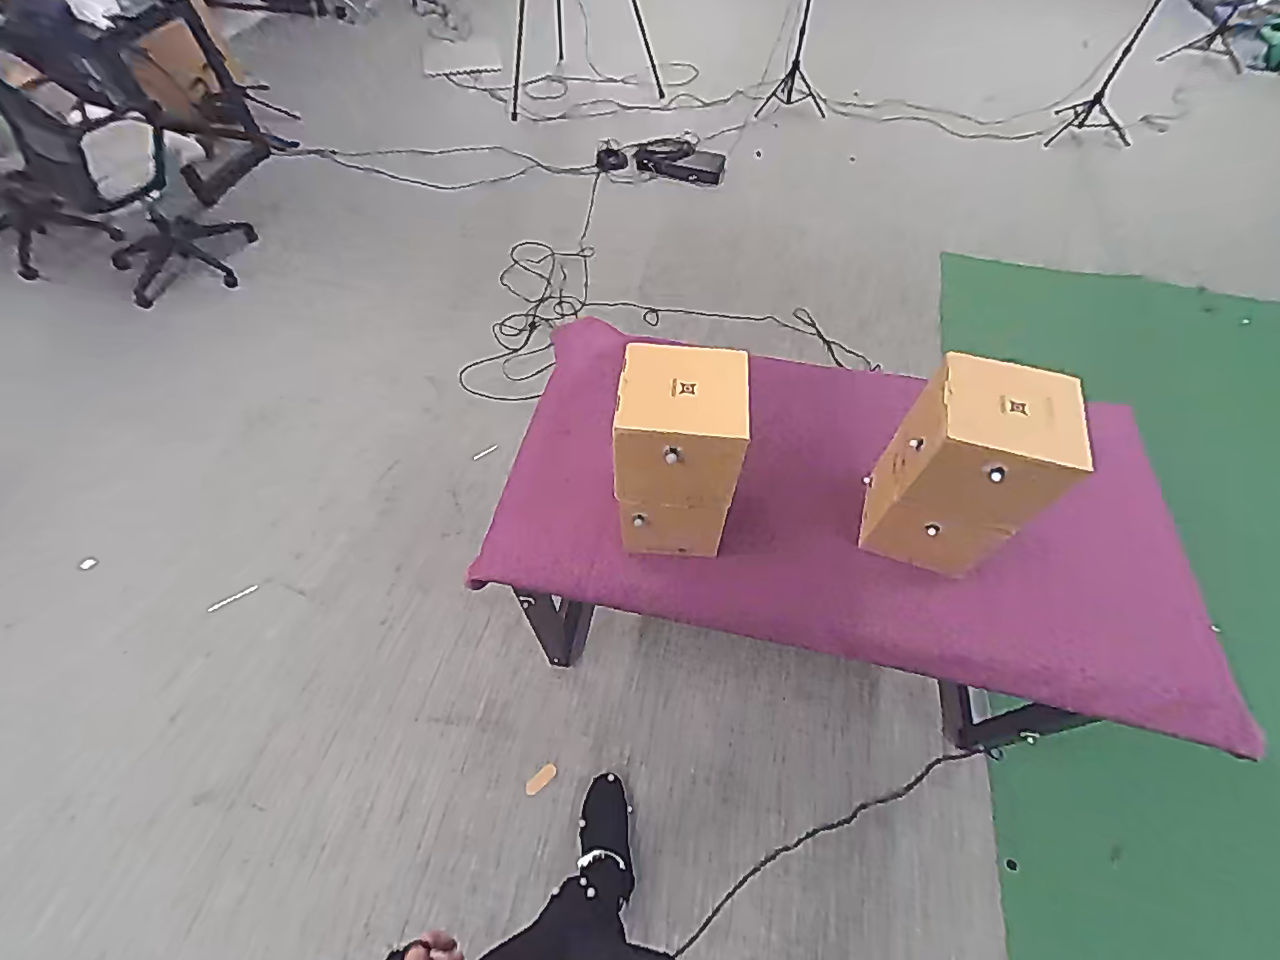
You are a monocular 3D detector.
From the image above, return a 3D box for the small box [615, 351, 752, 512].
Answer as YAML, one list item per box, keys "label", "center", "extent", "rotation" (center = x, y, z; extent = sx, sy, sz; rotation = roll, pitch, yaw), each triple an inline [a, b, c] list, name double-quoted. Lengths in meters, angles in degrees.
- label: "small box"
  center: [0.062, -0.066, 0.794]
  extent: [0.179, 0.176, 0.168]
  rotation: [5, 55, 3]

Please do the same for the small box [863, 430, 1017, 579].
- label: "small box"
  center: [0.497, 0.047, 0.915]
  extent: [0.179, 0.176, 0.168]
  rotation: [17, 58, 10]

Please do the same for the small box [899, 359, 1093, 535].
- label: "small box"
  center: [0.494, -0.042, 0.779]
  extent: [0.179, 0.176, 0.168]
  rotation: [16, 59, 10]
